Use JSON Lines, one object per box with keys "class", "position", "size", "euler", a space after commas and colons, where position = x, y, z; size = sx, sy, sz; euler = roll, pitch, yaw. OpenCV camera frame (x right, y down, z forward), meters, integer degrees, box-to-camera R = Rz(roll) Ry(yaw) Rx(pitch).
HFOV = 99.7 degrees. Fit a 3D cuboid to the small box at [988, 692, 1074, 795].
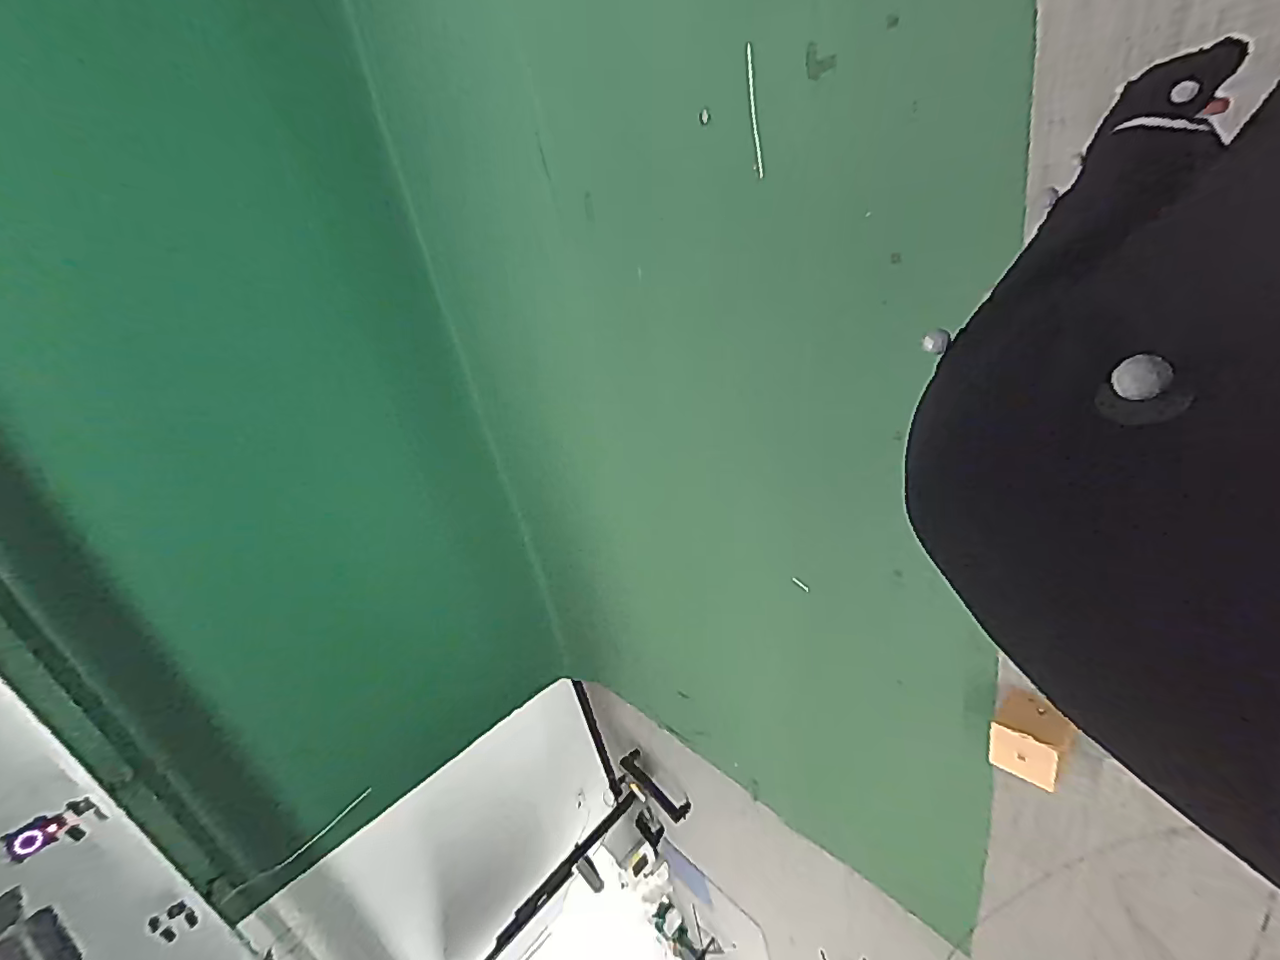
{"class": "small box", "position": [1.153, 0.769, 1.594], "size": [0.168, 0.176, 0.179], "euler": [13, 124, 47]}
